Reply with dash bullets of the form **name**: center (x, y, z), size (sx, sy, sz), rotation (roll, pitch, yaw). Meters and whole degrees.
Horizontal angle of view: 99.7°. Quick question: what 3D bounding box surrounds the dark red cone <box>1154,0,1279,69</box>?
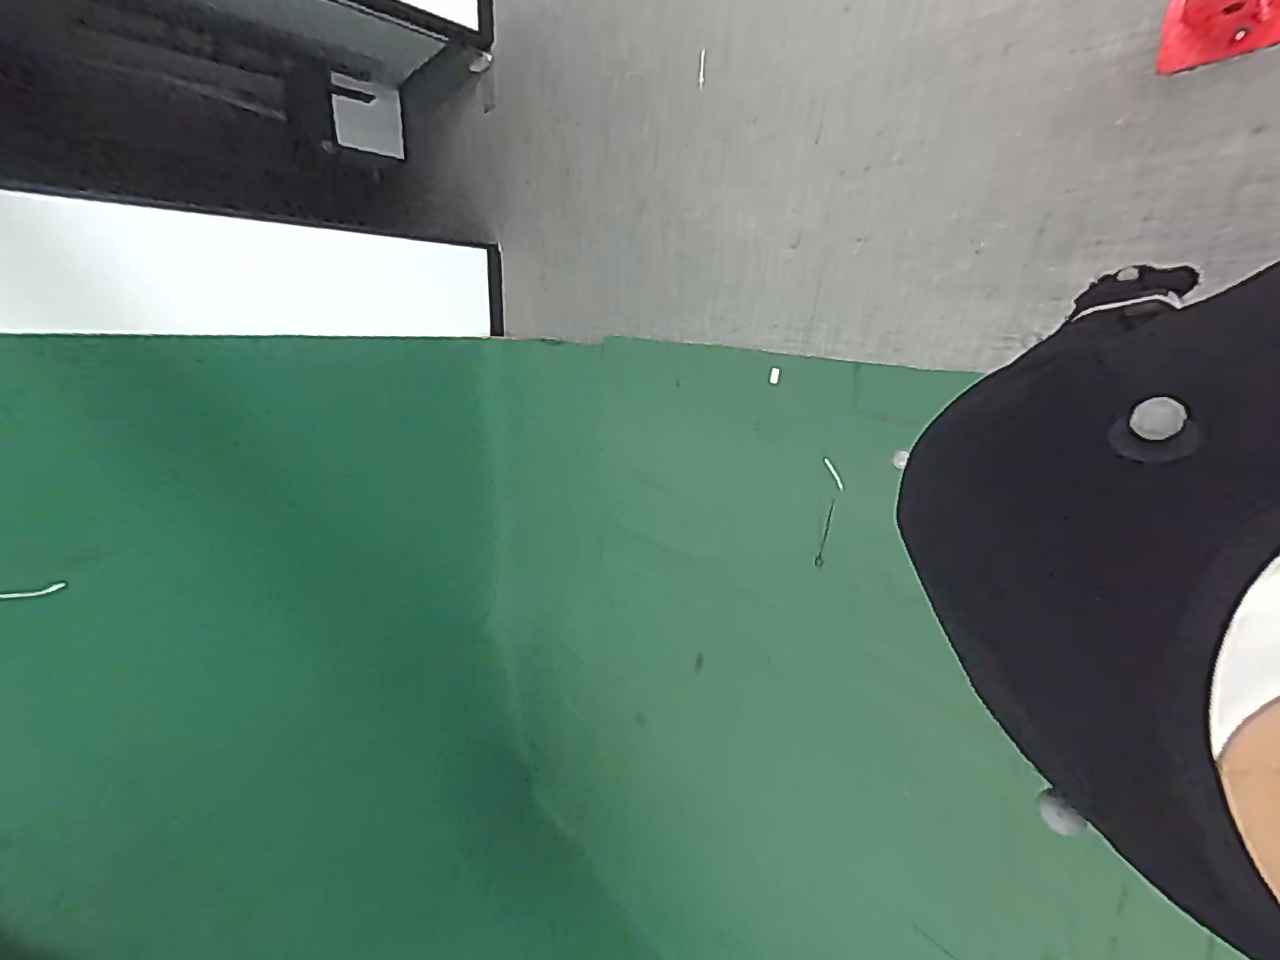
- **dark red cone**: center (0.893, -0.804, 0.805), size (0.202, 0.394, 0.201), rotation (13, 110, 48)
